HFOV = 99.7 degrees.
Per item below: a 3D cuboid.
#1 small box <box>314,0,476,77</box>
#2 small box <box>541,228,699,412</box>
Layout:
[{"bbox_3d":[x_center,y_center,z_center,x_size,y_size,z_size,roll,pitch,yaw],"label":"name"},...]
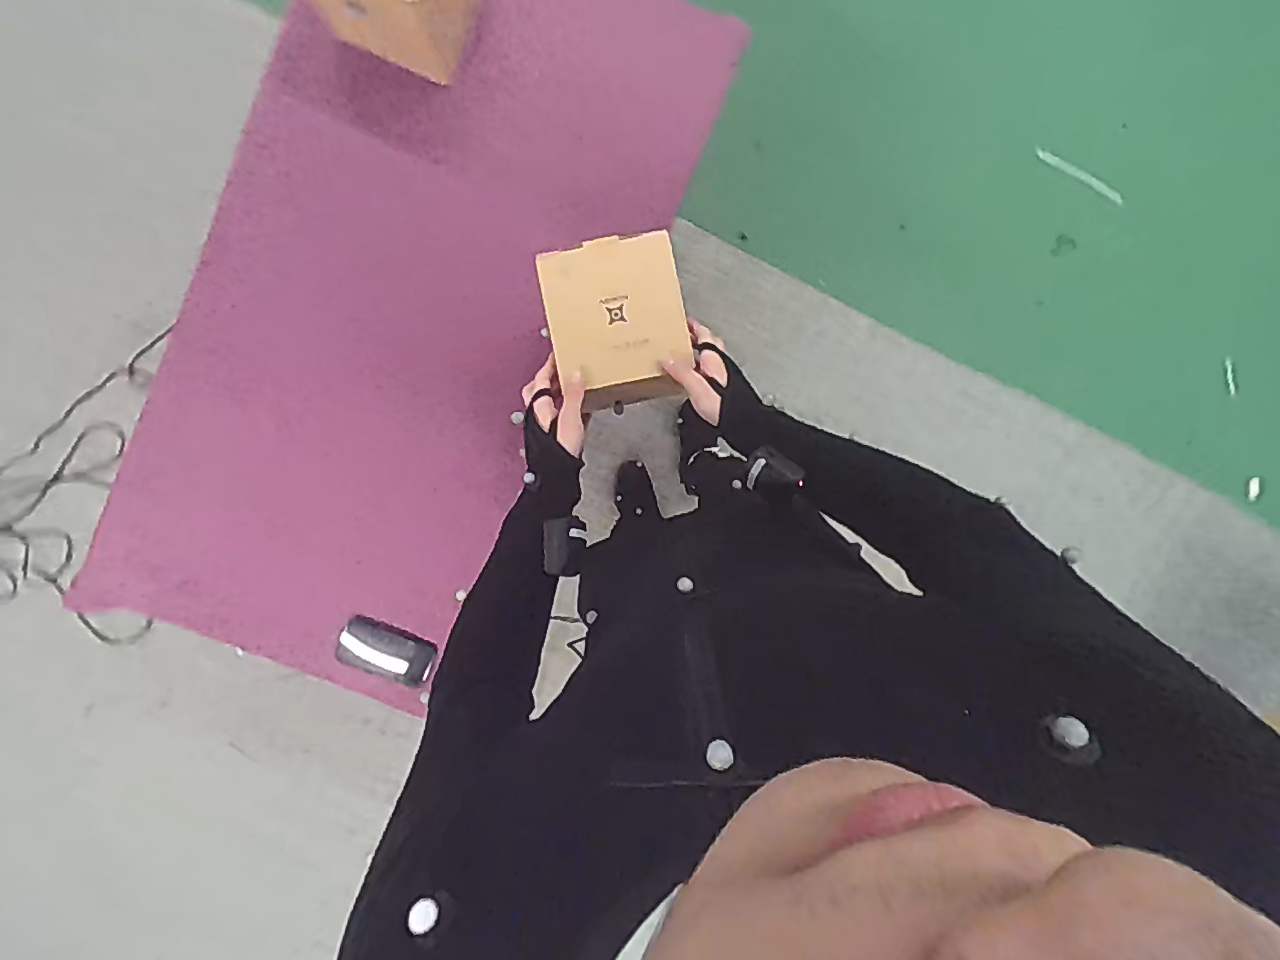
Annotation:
[{"bbox_3d":[-0.340,-0.692,0.718,0.179,0.176,0.168,21,94,-5],"label":"small box"},{"bbox_3d":[-0.027,-0.199,0.716,0.168,0.176,0.179,-10,89,-1],"label":"small box"}]
